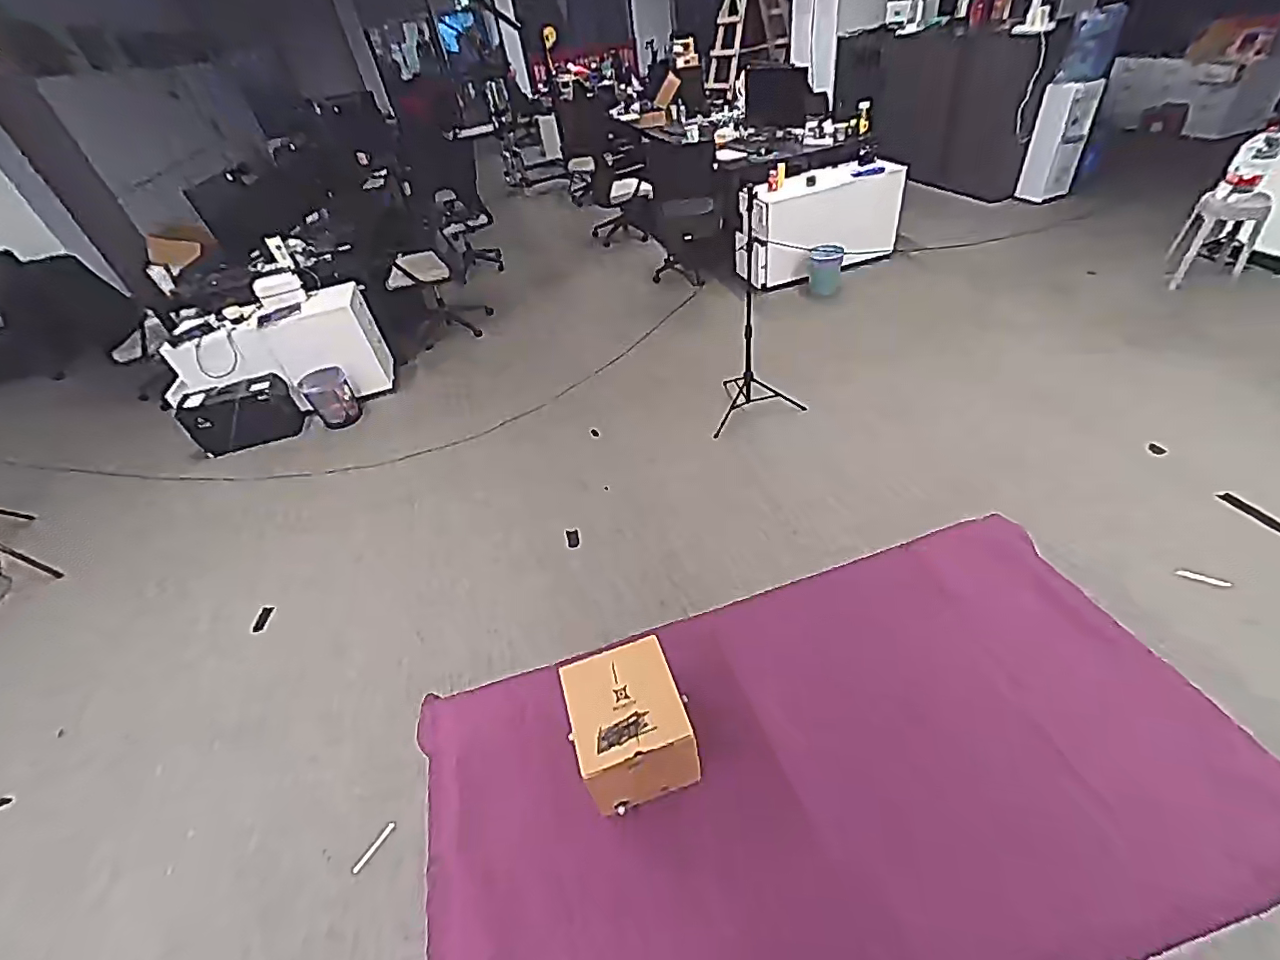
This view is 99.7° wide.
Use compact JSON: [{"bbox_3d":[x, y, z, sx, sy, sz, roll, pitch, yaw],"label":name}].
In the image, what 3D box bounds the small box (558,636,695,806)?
[{"bbox_3d":[-0.019,0.389,0.861,0.168,0.176,0.179,-17,41,-8],"label":"small box"}]
